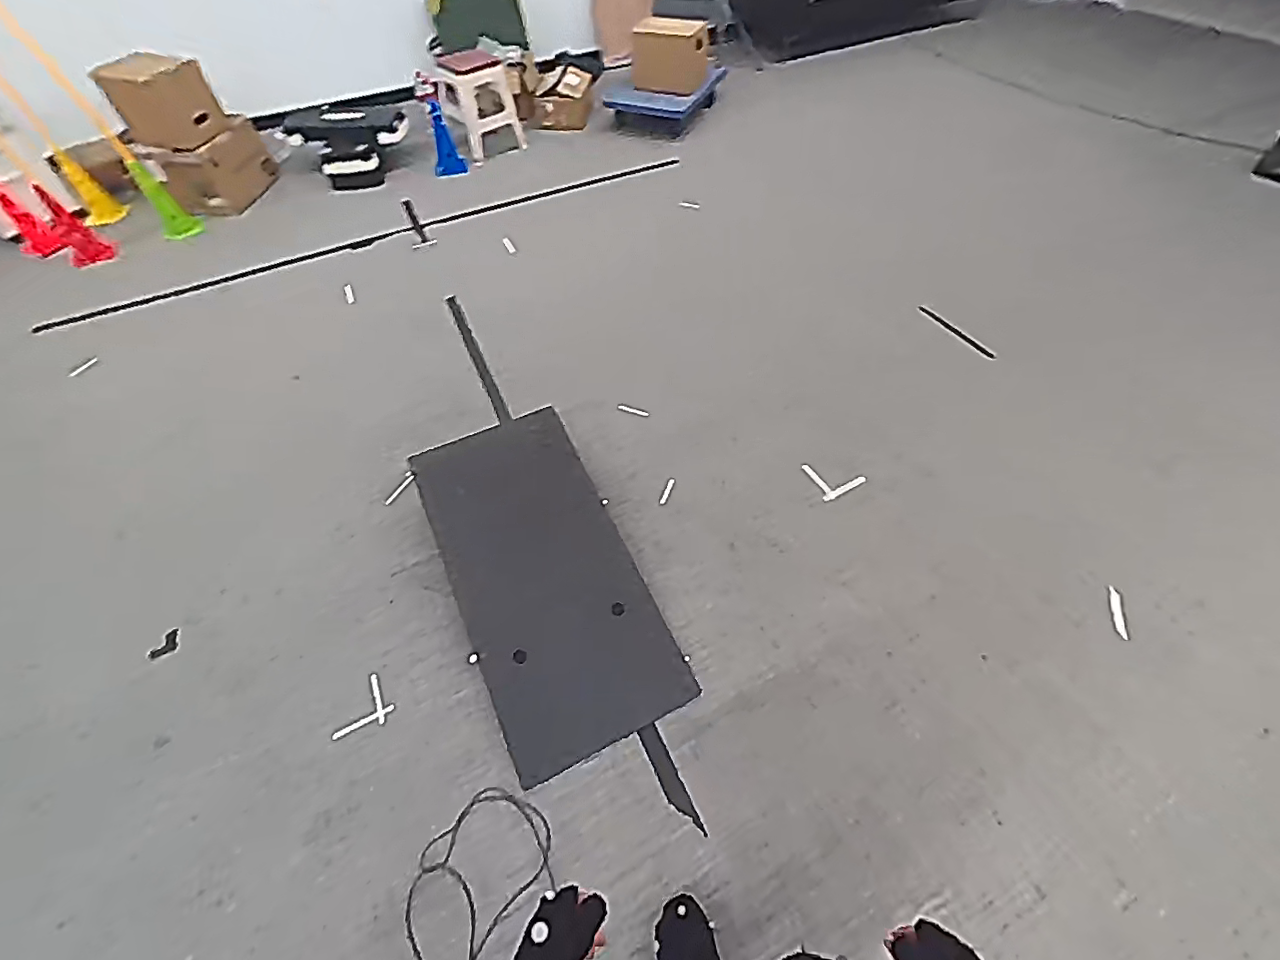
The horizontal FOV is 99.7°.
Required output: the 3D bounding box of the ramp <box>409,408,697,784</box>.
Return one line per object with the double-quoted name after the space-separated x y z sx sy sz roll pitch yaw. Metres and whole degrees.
-0.280 0.244 1.548 0.509 0.206 0.991 -24 56 -16 "ramp"
